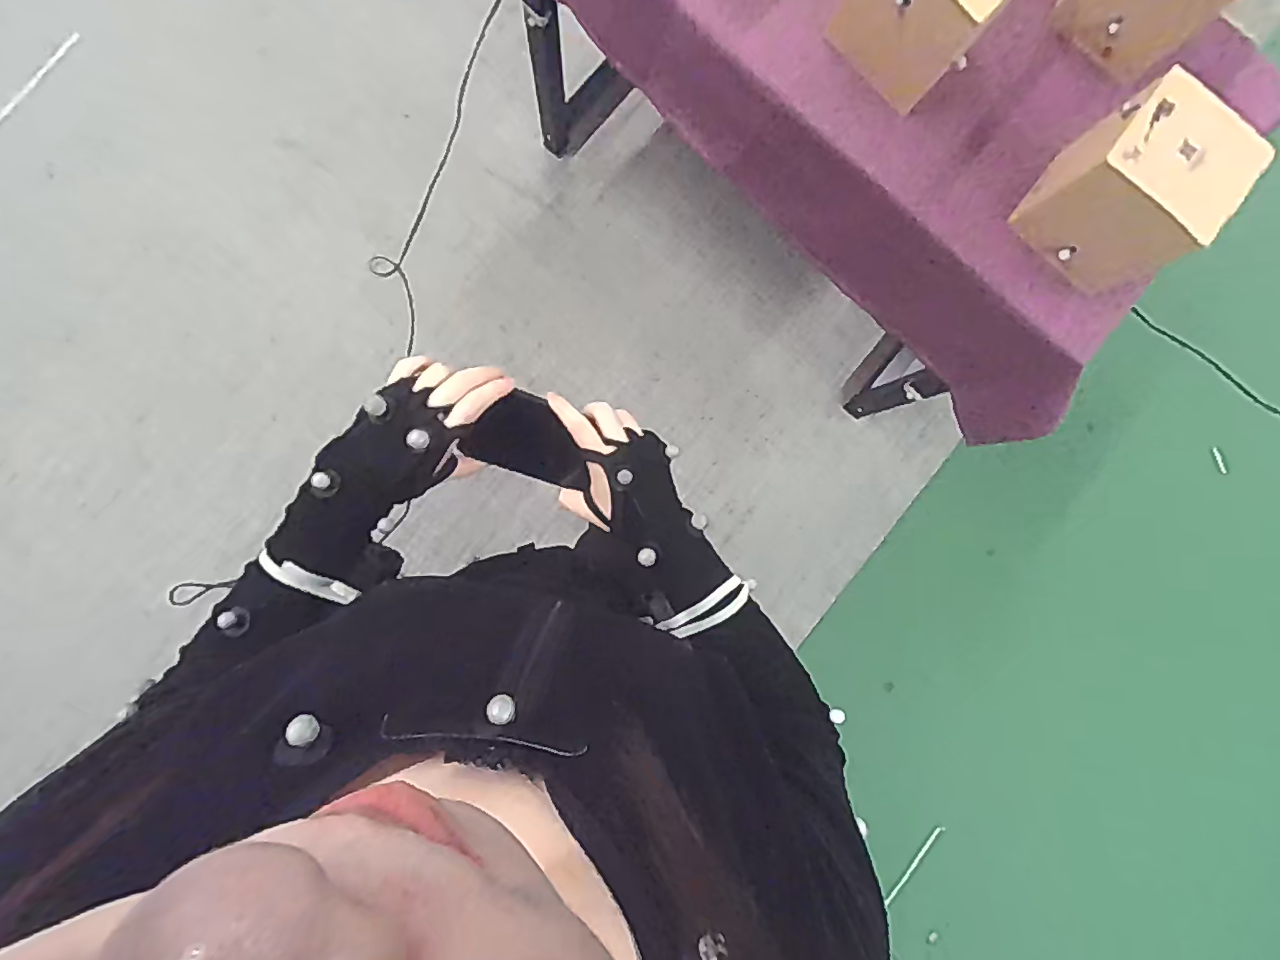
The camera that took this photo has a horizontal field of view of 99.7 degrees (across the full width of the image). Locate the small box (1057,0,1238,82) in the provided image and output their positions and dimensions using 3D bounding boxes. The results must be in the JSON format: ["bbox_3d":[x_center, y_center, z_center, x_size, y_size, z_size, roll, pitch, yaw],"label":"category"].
[{"bbox_3d":[0.760,-0.738,0.773,0.168,0.176,0.179,38,86,-3],"label":"small box"}]

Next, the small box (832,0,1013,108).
[{"bbox_3d":[0.402,-0.671,0.740,0.179,0.176,0.168,44,86,-4],"label":"small box"}]

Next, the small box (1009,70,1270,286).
[{"bbox_3d":[0.684,-0.401,0.761,0.179,0.176,0.168,40,85,-4],"label":"small box"}]
